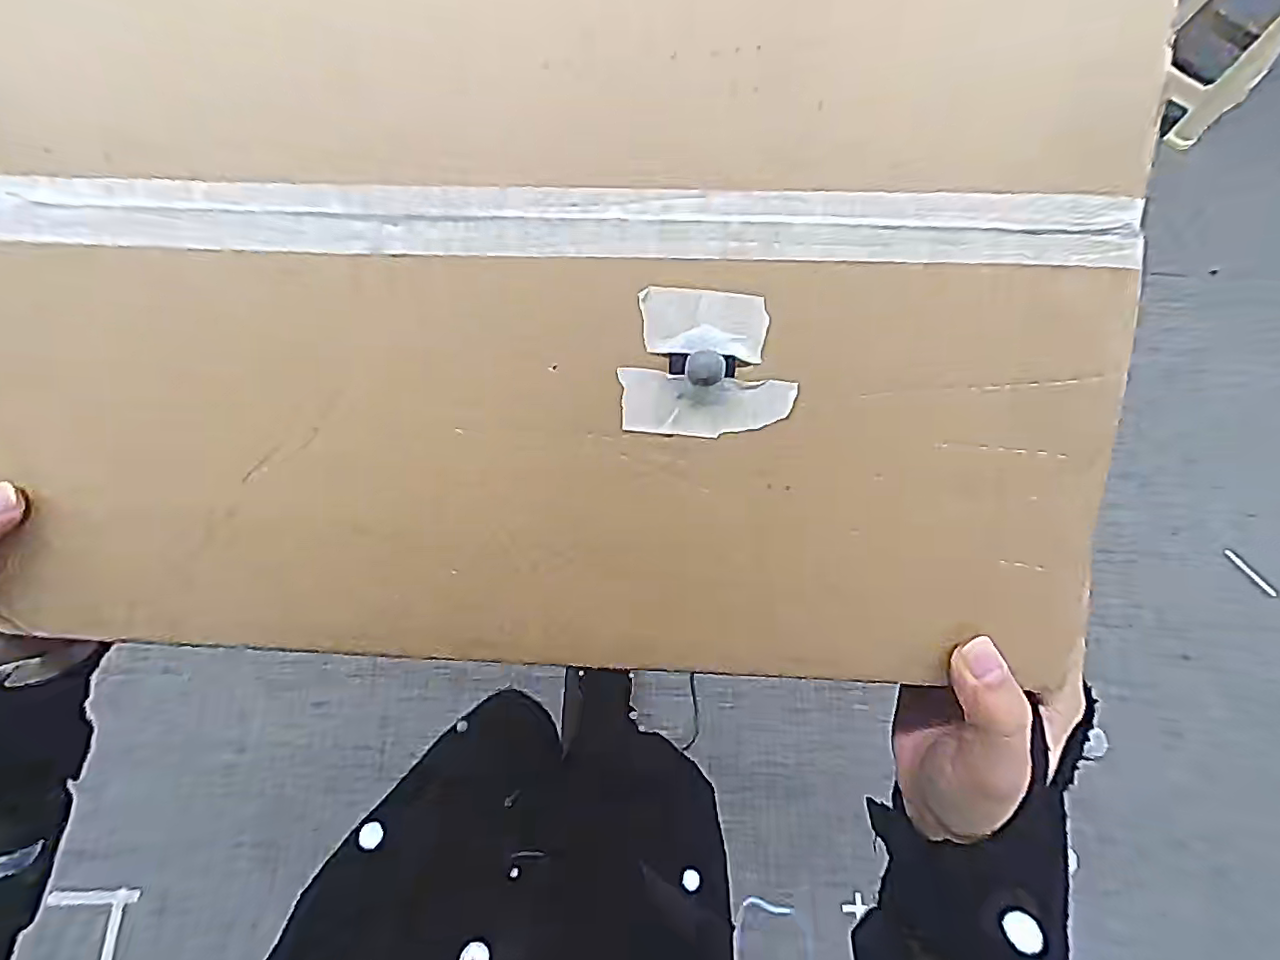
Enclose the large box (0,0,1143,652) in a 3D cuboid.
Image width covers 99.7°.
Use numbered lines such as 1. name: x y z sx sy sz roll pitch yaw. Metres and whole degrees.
1. large box: -0.036 -0.108 0.340 0.408 0.320 0.320 2 99 1
